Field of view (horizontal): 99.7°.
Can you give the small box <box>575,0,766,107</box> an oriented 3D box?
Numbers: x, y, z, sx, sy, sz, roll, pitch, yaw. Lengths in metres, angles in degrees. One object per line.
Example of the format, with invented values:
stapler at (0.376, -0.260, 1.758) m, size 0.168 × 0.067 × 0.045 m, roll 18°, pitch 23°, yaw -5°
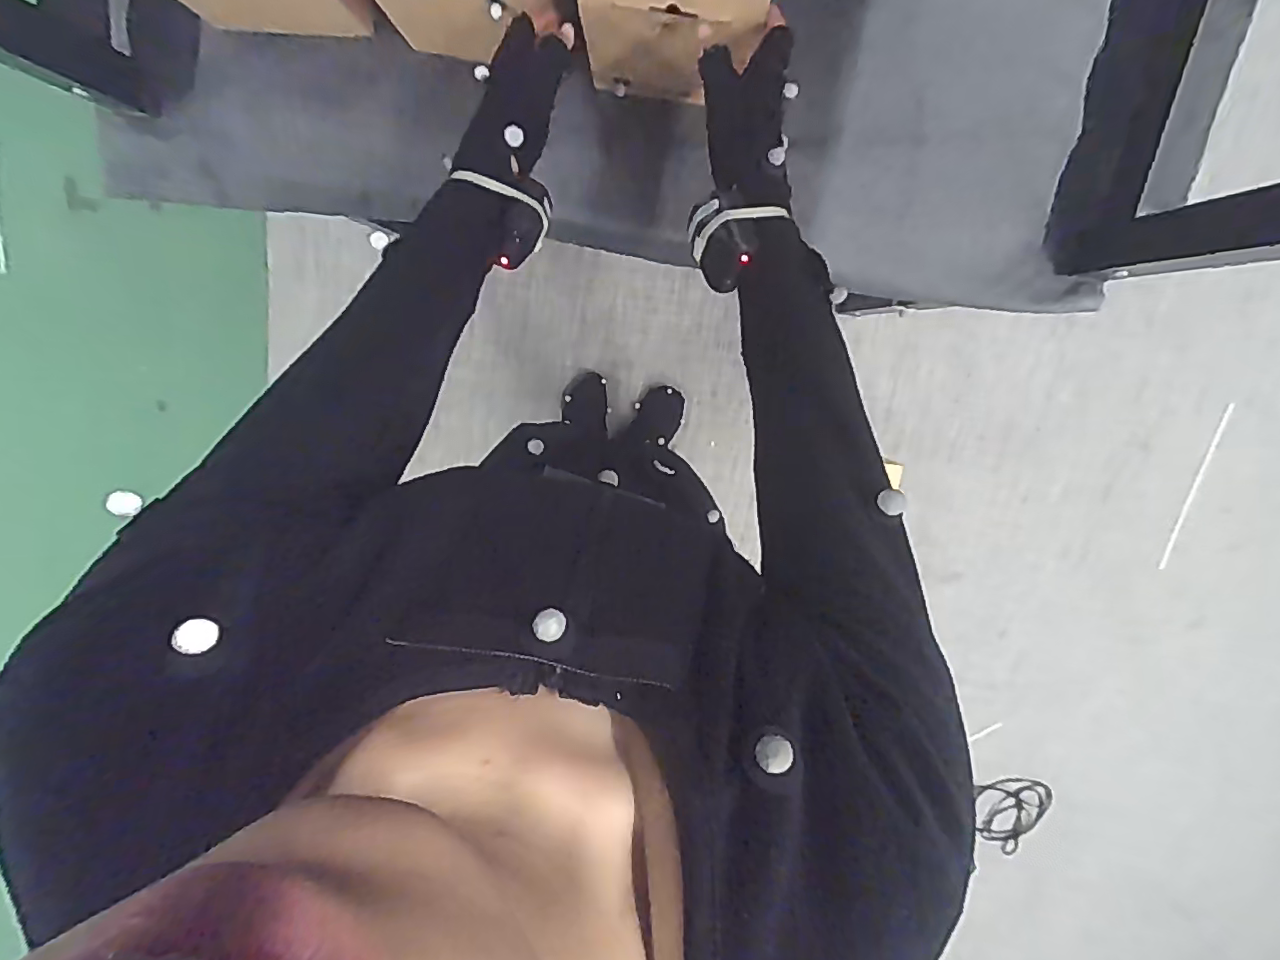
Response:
small box at (0.038, -0.495, 0.518) m, size 0.168 × 0.176 × 0.179 m, roll 8°, pitch 104°, yaw -1°
